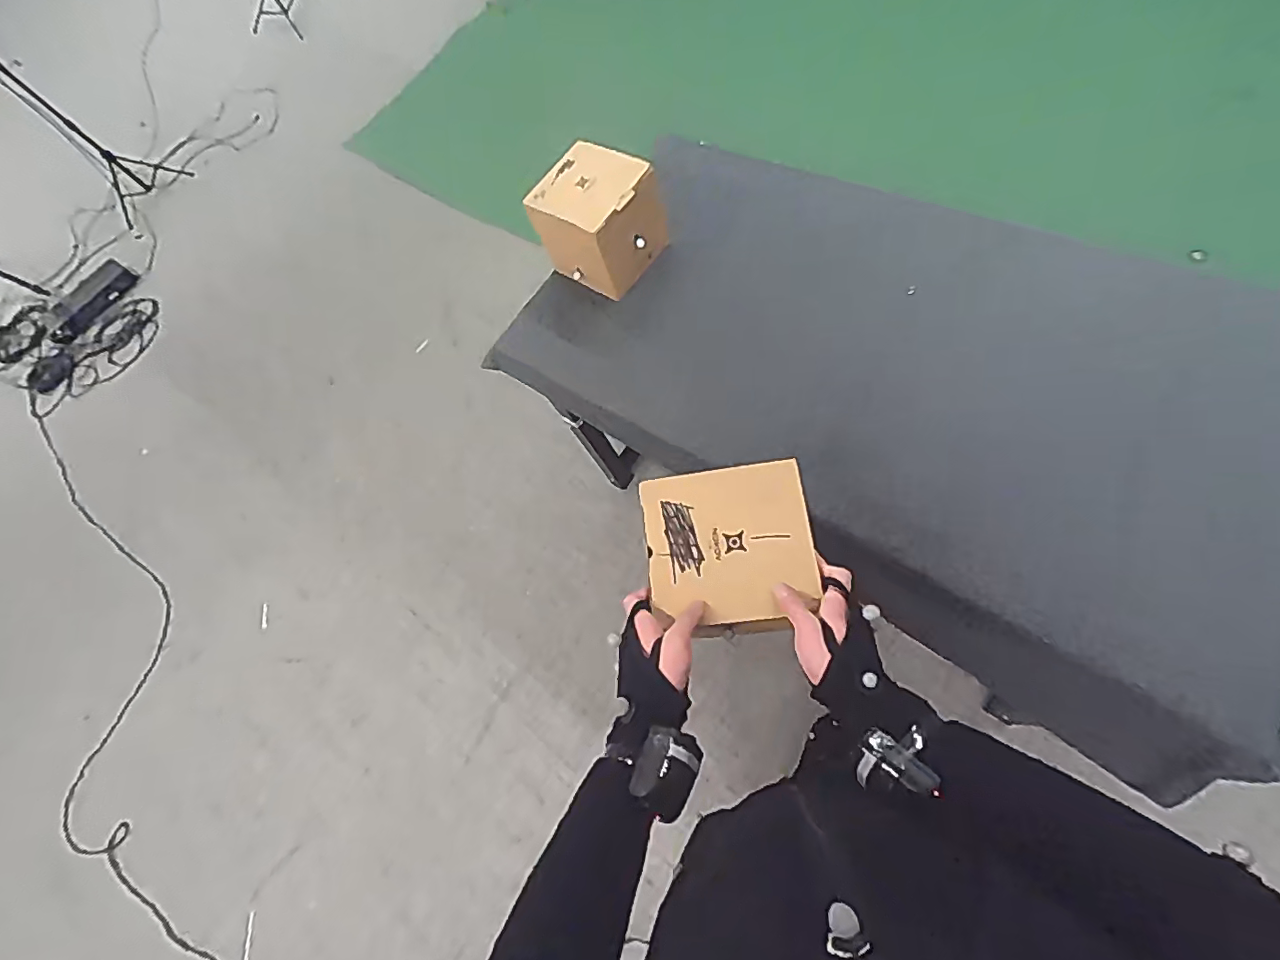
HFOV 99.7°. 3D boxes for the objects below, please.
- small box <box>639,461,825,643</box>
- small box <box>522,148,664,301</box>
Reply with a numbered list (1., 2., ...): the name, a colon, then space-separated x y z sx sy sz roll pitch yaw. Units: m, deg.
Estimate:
1. small box: 0.104 0.095 0.633 0.179 0.176 0.168 -8 68 8
2. small box: -0.076 -0.461 0.998 0.179 0.176 0.168 33 79 23
